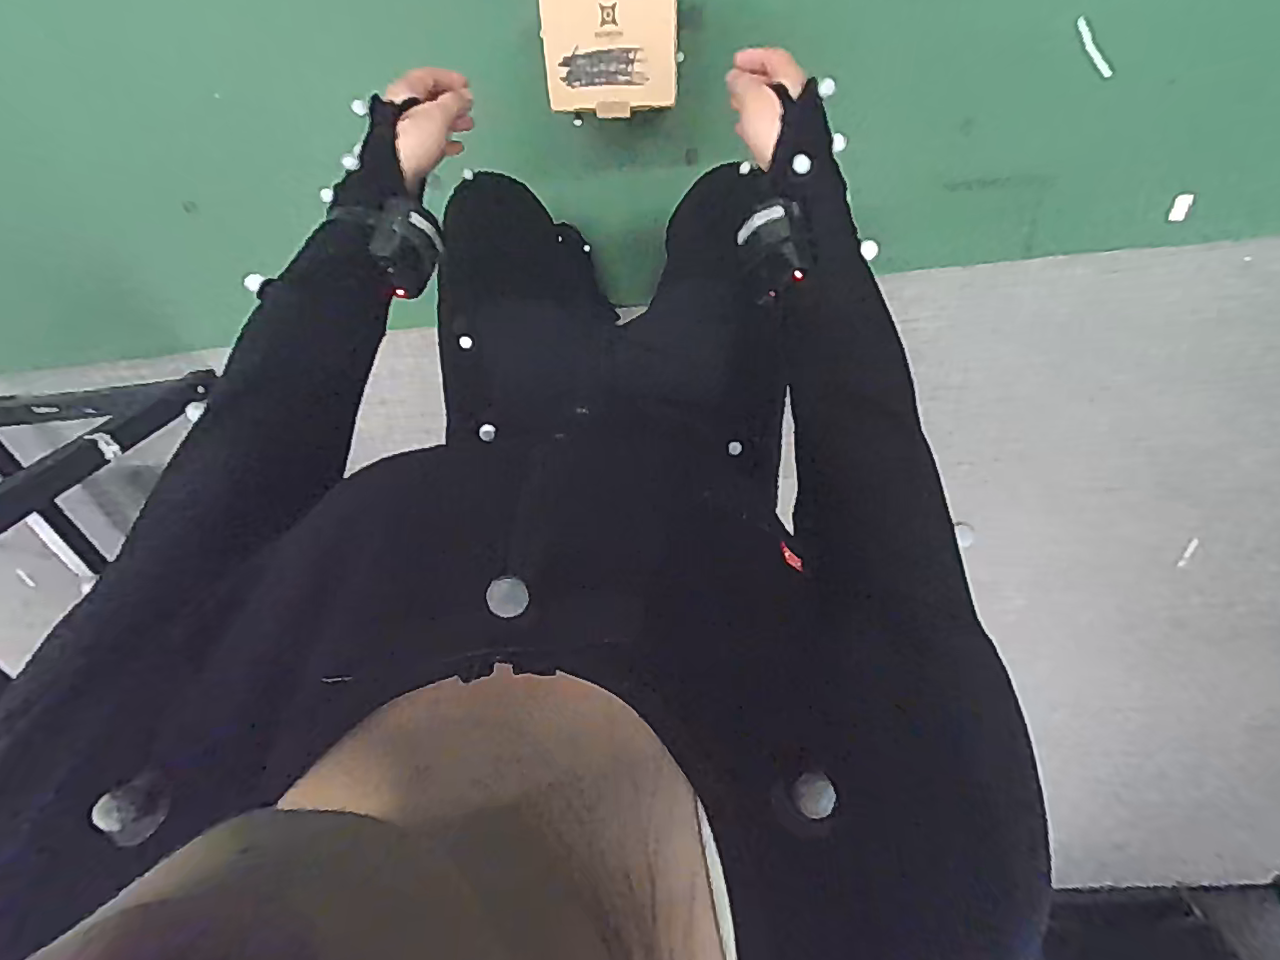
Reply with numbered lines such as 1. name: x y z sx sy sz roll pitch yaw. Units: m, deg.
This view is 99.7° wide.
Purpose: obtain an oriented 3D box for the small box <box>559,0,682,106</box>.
1. small box: -0.028 -0.693 0.850 0.179 0.176 0.168 -2 125 2

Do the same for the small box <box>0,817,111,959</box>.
1. small box: -1.086 0.702 0.924 0.168 0.176 0.179 -3 125 4
